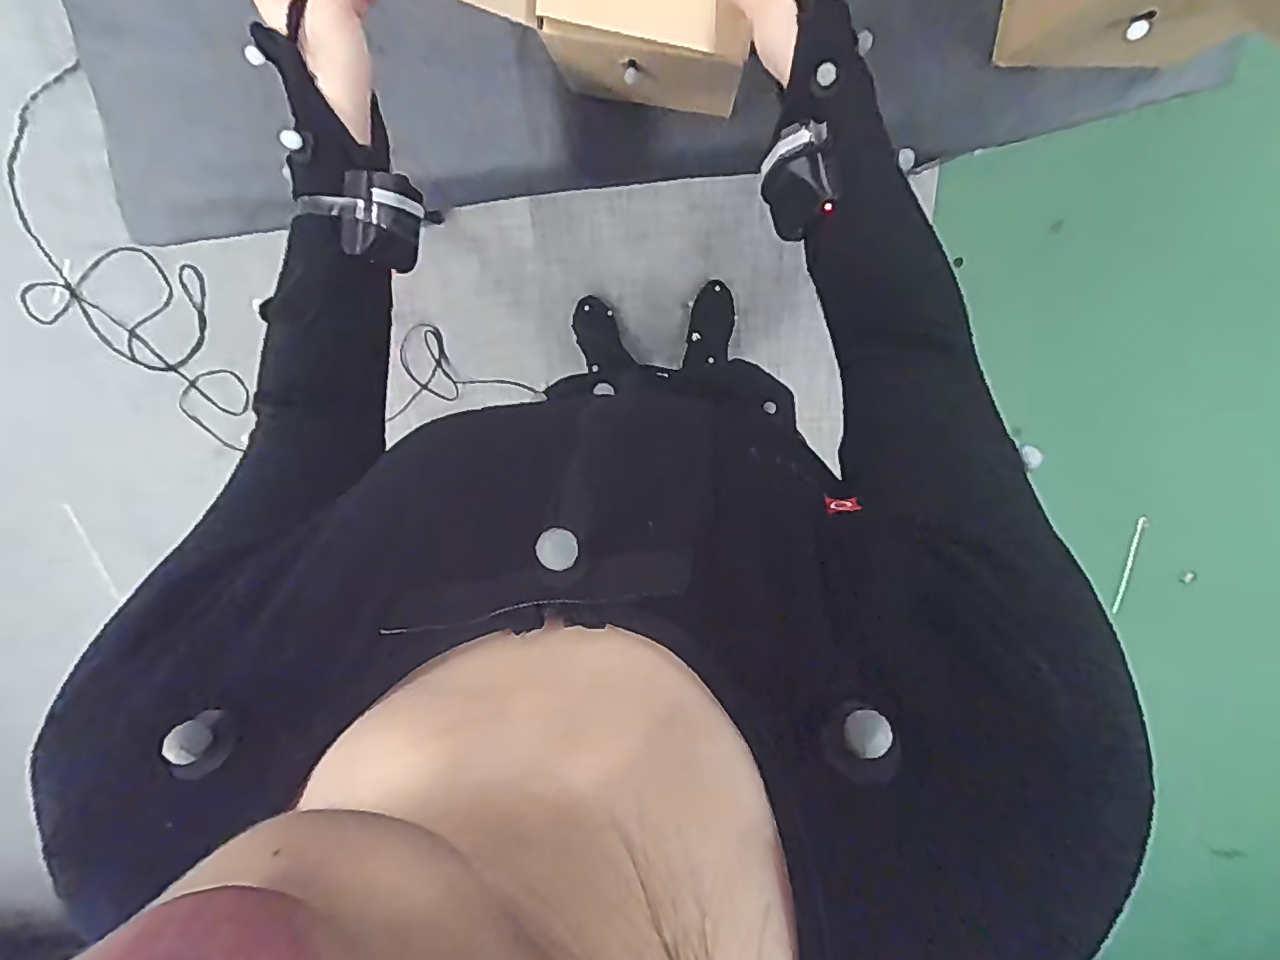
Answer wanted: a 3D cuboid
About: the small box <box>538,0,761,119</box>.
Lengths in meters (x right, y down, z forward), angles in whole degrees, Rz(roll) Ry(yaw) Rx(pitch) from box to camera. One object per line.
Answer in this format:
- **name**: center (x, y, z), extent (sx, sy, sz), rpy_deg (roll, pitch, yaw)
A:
- **small box**: center (0.020, -0.447, 0.485), extent (0.179, 0.176, 0.168), rpy_deg (10, 113, 0)
